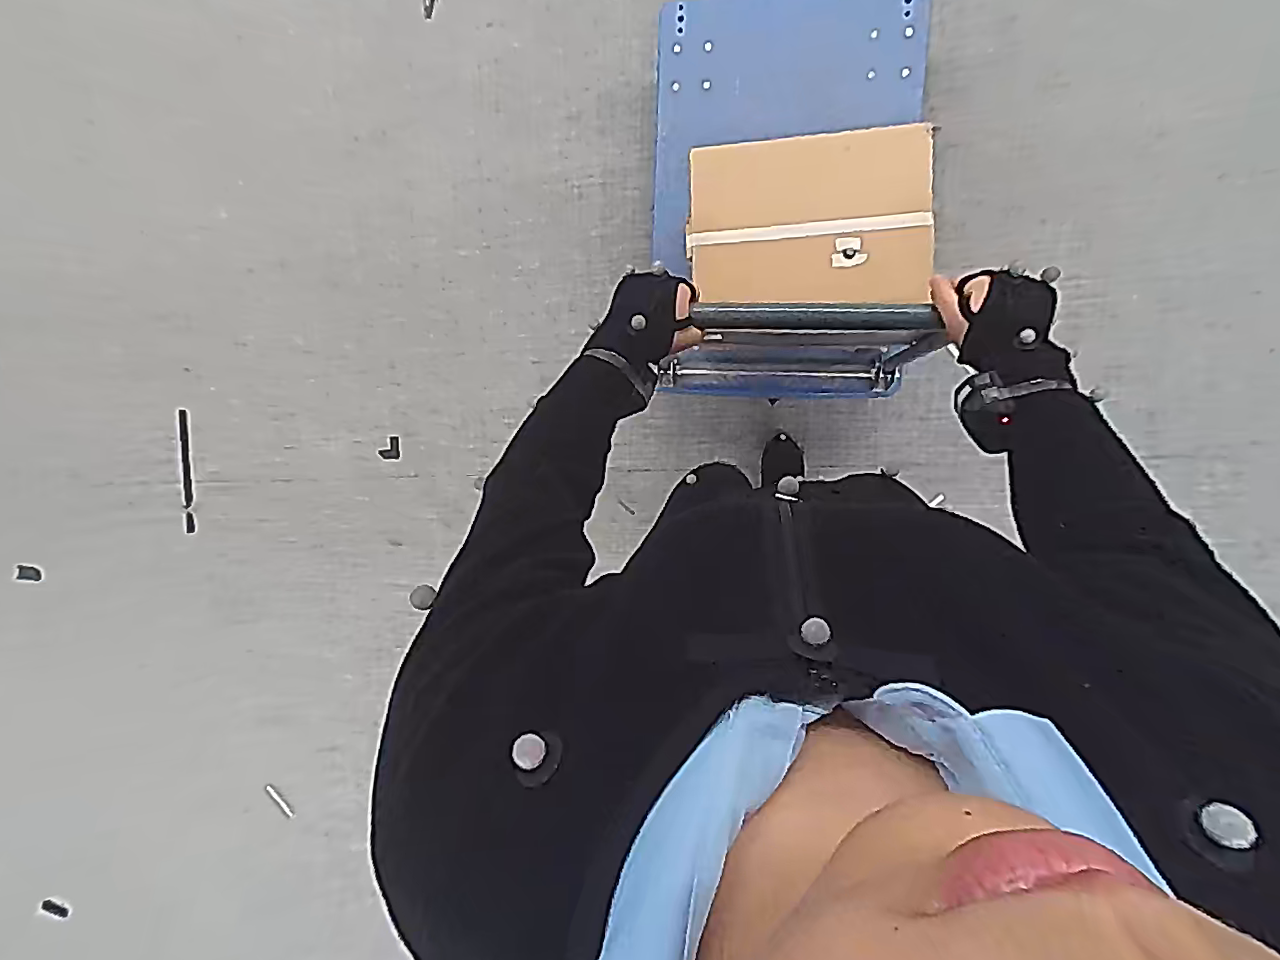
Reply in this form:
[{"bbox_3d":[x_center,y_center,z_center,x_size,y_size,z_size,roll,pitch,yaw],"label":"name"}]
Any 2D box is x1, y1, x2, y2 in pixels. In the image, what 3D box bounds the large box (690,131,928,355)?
[{"bbox_3d":[0.312,-0.442,1.094,0.408,0.320,0.320,-1,96,8],"label":"large box"}]
